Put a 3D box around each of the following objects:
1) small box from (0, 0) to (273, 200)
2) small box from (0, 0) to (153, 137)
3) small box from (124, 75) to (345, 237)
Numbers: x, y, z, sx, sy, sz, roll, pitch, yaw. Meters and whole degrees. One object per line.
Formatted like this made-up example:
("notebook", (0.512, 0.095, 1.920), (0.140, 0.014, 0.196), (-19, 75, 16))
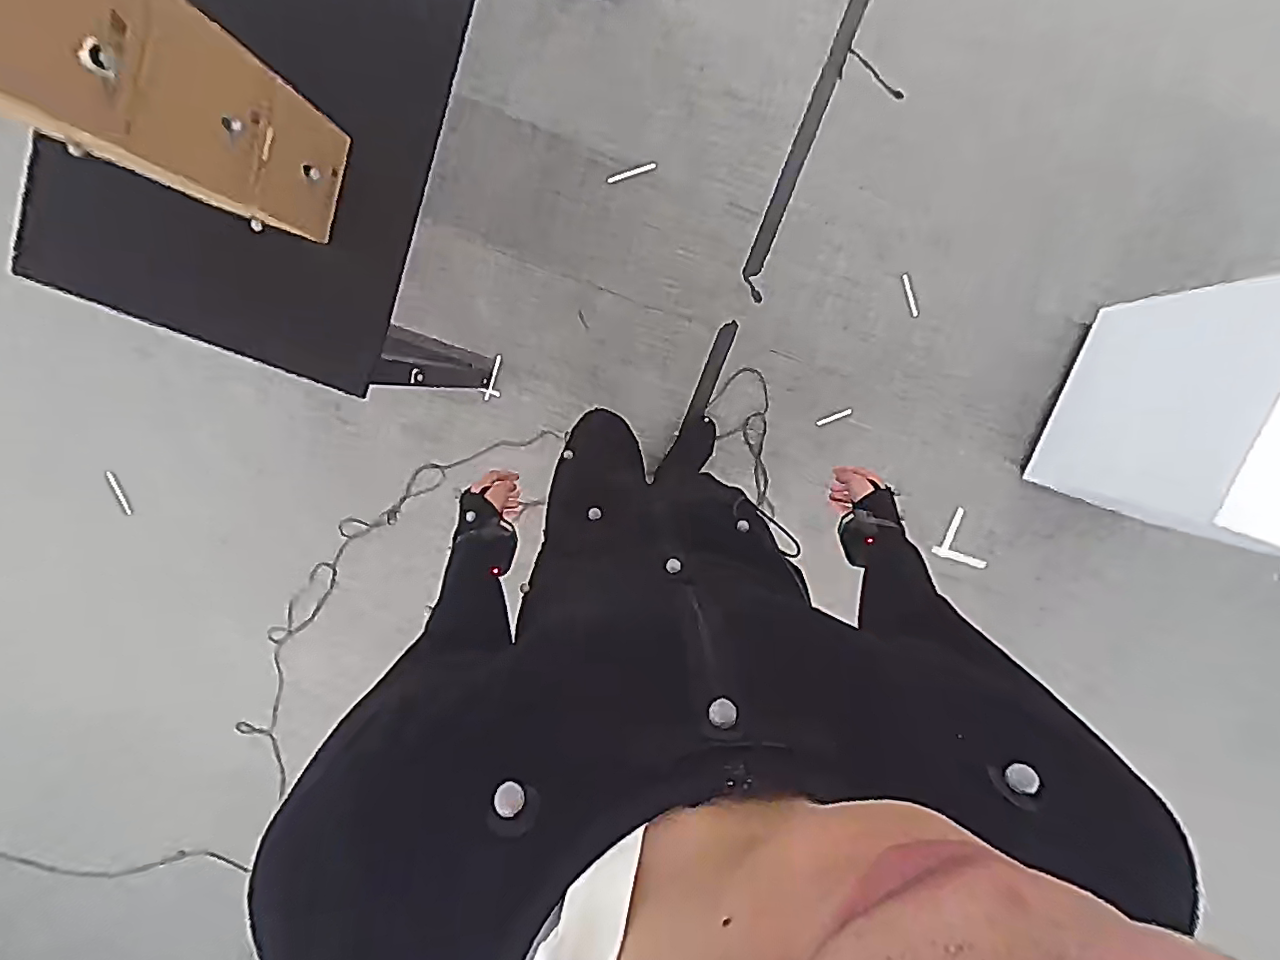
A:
("small box", (-0.560, -0.440, 0.598), (0.179, 0.176, 0.168), (19, 99, -1))
("small box", (-0.564, -0.417, 0.437), (0.179, 0.176, 0.168), (19, 100, -2))
("small box", (-0.554, -0.464, 0.761), (0.179, 0.176, 0.168), (18, 98, -2))
